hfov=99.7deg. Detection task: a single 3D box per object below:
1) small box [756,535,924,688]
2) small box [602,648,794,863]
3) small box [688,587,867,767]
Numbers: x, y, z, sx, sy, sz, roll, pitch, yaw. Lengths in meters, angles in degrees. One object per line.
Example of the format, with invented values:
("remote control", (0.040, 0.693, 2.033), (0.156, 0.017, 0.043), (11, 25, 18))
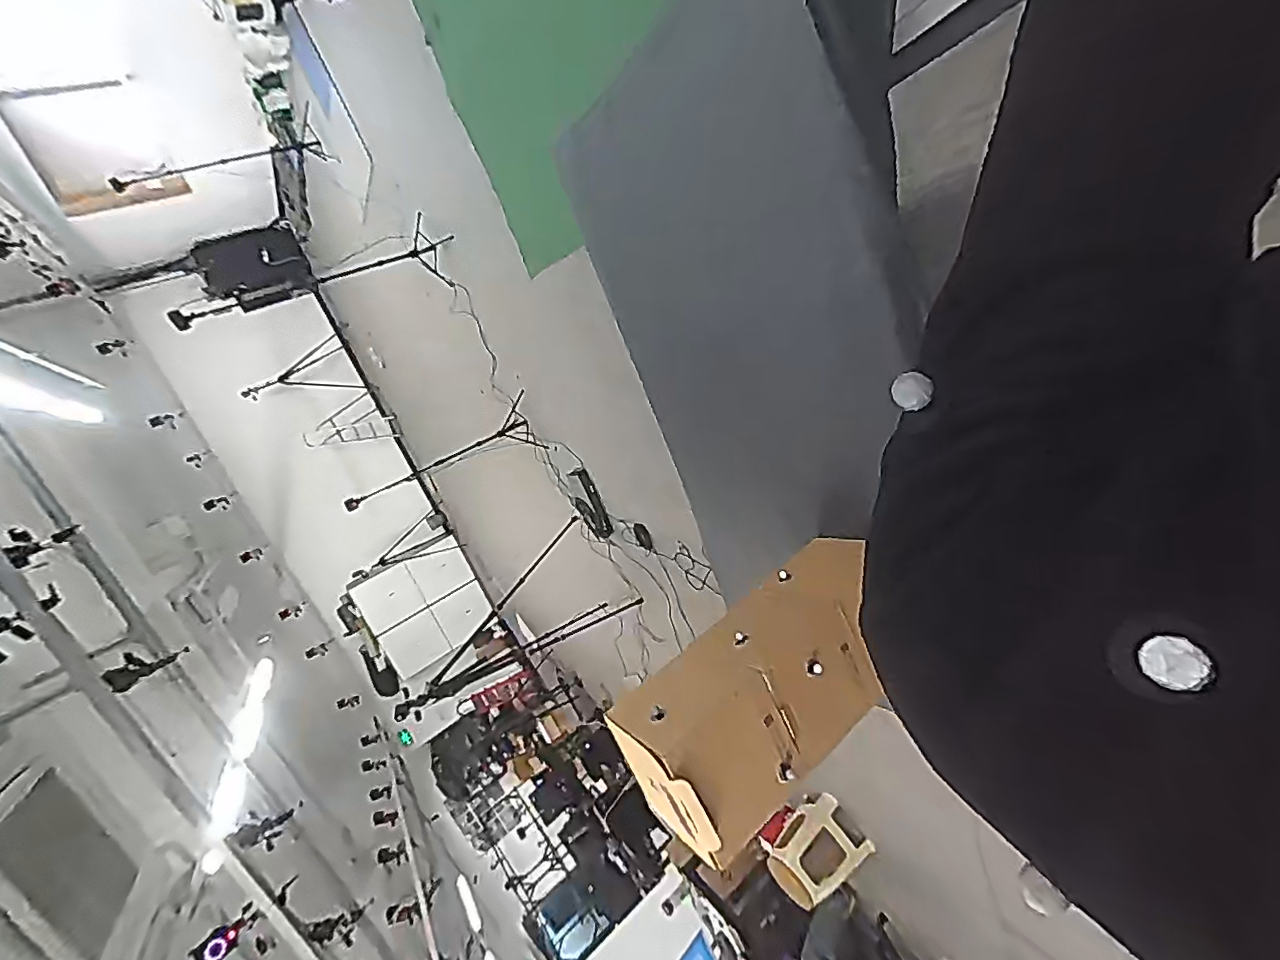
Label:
("small box", (0.332, 0.201, 0.884), (0.179, 0.176, 0.168), (-7, 112, 61))
("small box", (0.083, 0.353, 0.736), (0.179, 0.176, 0.168), (-11, 107, 63))
("small box", (0.210, 0.278, 0.809), (0.179, 0.176, 0.168), (-8, 109, 62))
